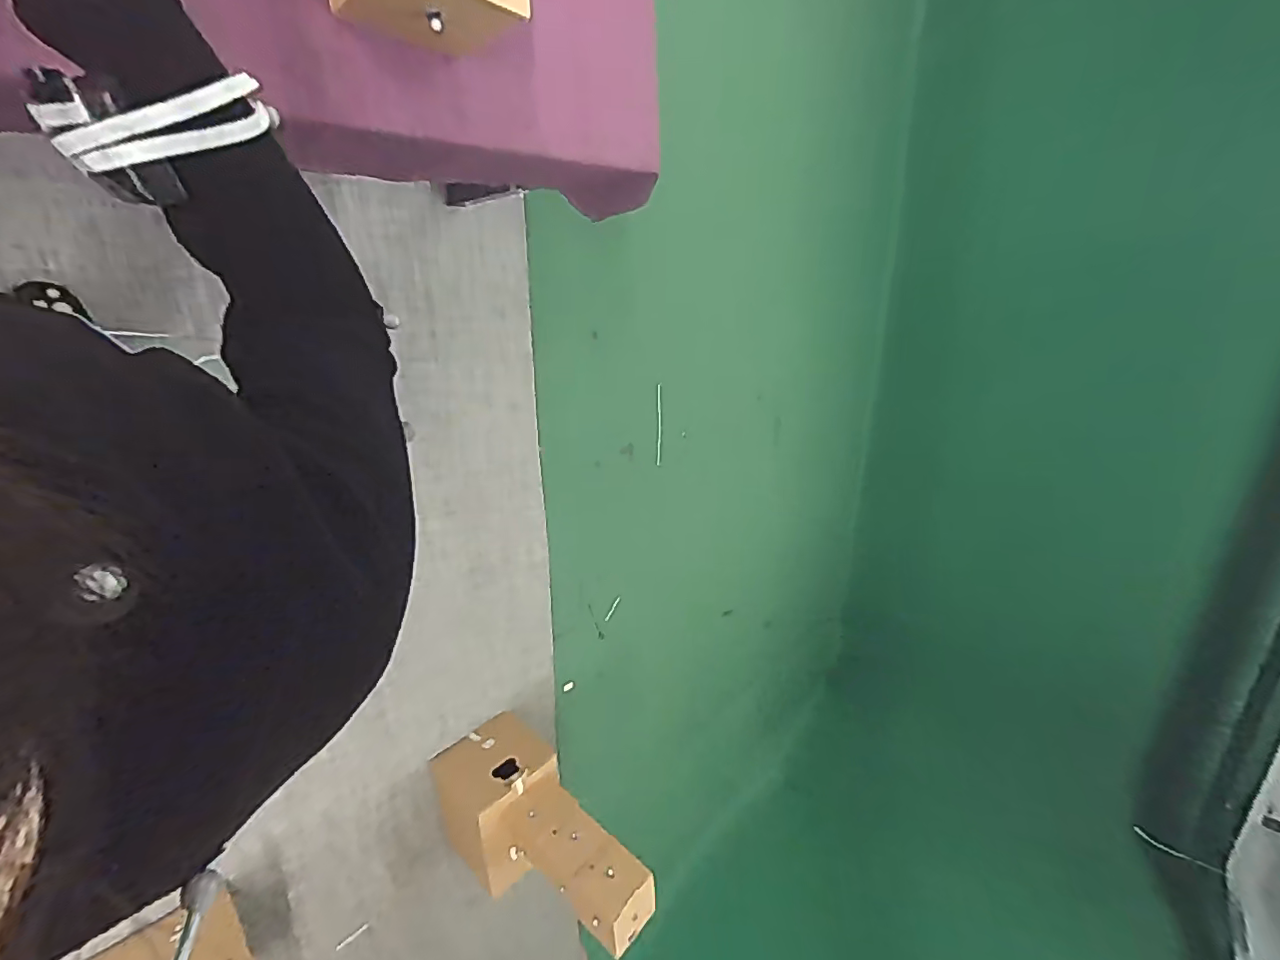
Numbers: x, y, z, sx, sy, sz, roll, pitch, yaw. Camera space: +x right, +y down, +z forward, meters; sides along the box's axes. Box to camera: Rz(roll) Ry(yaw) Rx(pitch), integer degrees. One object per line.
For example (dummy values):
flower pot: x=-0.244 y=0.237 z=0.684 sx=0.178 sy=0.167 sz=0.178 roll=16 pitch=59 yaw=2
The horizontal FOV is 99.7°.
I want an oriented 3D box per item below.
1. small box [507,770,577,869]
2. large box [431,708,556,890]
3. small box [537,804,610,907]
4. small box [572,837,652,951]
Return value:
small box: x=-0.324 y=1.109 z=1.780 sx=0.179 sy=0.176 sz=0.168 roll=-23 pitch=120 yaw=-44
large box: x=-0.514 y=1.125 z=1.948 sx=0.320 sy=0.320 sz=0.408 roll=-21 pitch=119 yaw=-43
small box: x=-0.204 y=1.152 z=1.678 sx=0.168 sy=0.176 sz=0.179 roll=-27 pitch=123 yaw=-41
small box: x=-0.083 y=1.188 z=1.572 sx=0.168 sy=0.176 sz=0.179 roll=-25 pitch=121 yaw=-42
